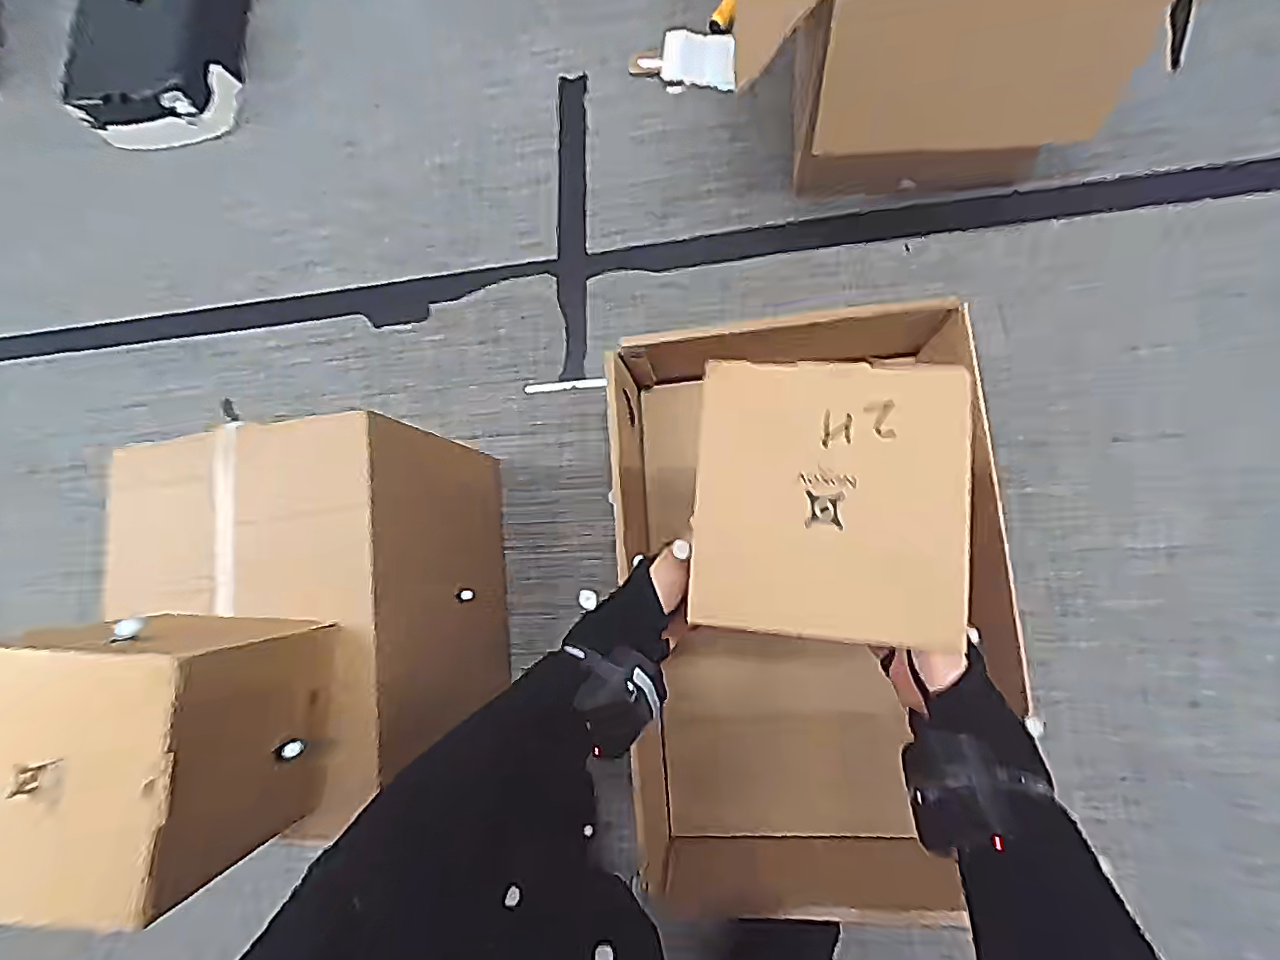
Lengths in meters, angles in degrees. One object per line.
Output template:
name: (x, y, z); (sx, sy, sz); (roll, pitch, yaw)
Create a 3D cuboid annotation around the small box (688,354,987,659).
small box: (0.132, 0.019, 0.406); (0.168, 0.176, 0.179); (4, 83, 10)

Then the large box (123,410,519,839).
large box: (-0.367, 0.158, 0.689); (0.320, 0.320, 0.408); (-8, 82, 10)
